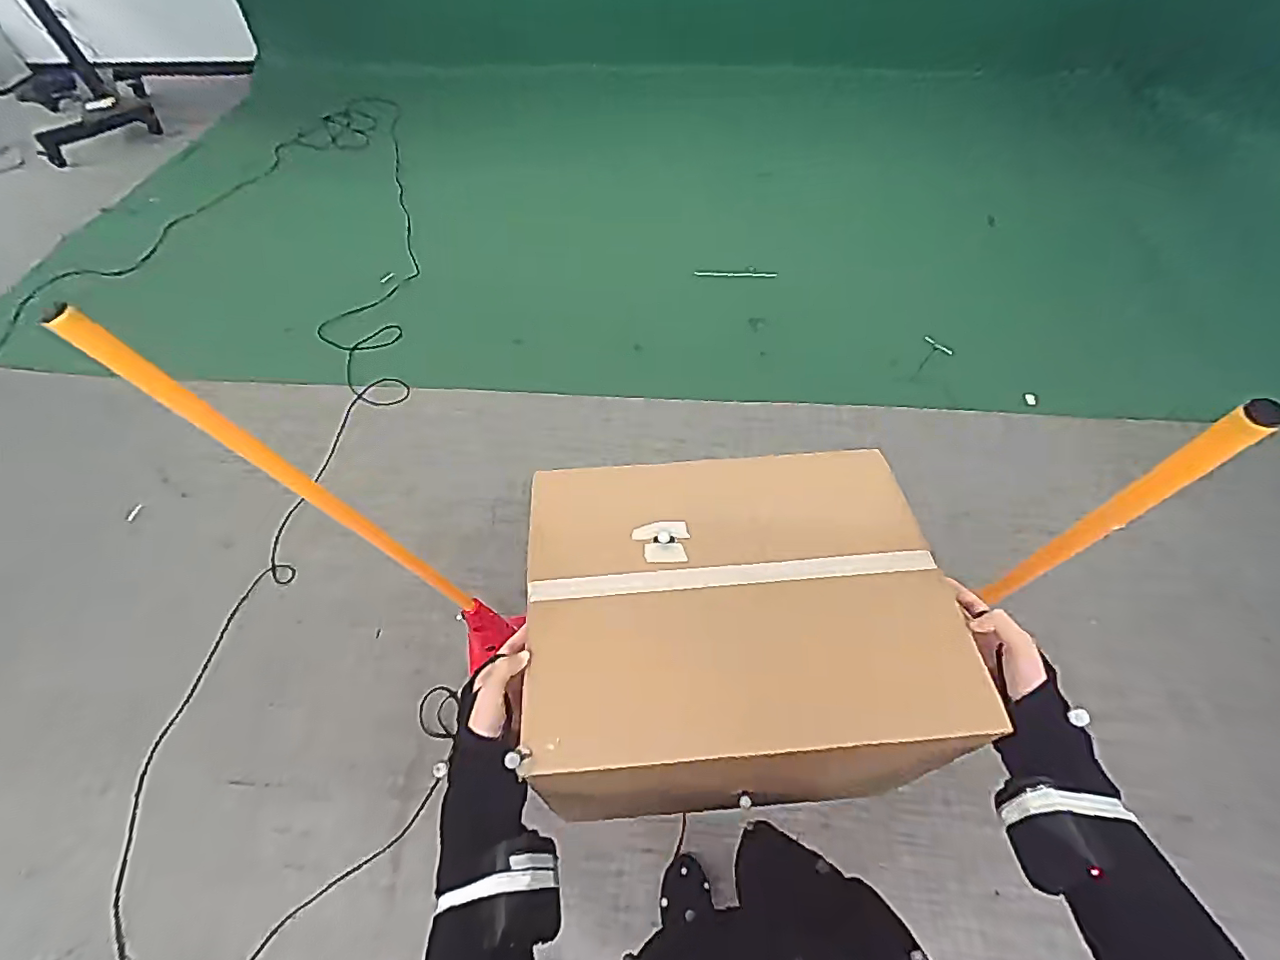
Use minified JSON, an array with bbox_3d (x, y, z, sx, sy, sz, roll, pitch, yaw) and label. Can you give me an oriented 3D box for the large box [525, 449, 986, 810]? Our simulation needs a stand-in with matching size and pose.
[{"bbox_3d":[0.093,0.192,0.661,0.408,0.320,0.320,-5,52,-2],"label":"large box"}]
